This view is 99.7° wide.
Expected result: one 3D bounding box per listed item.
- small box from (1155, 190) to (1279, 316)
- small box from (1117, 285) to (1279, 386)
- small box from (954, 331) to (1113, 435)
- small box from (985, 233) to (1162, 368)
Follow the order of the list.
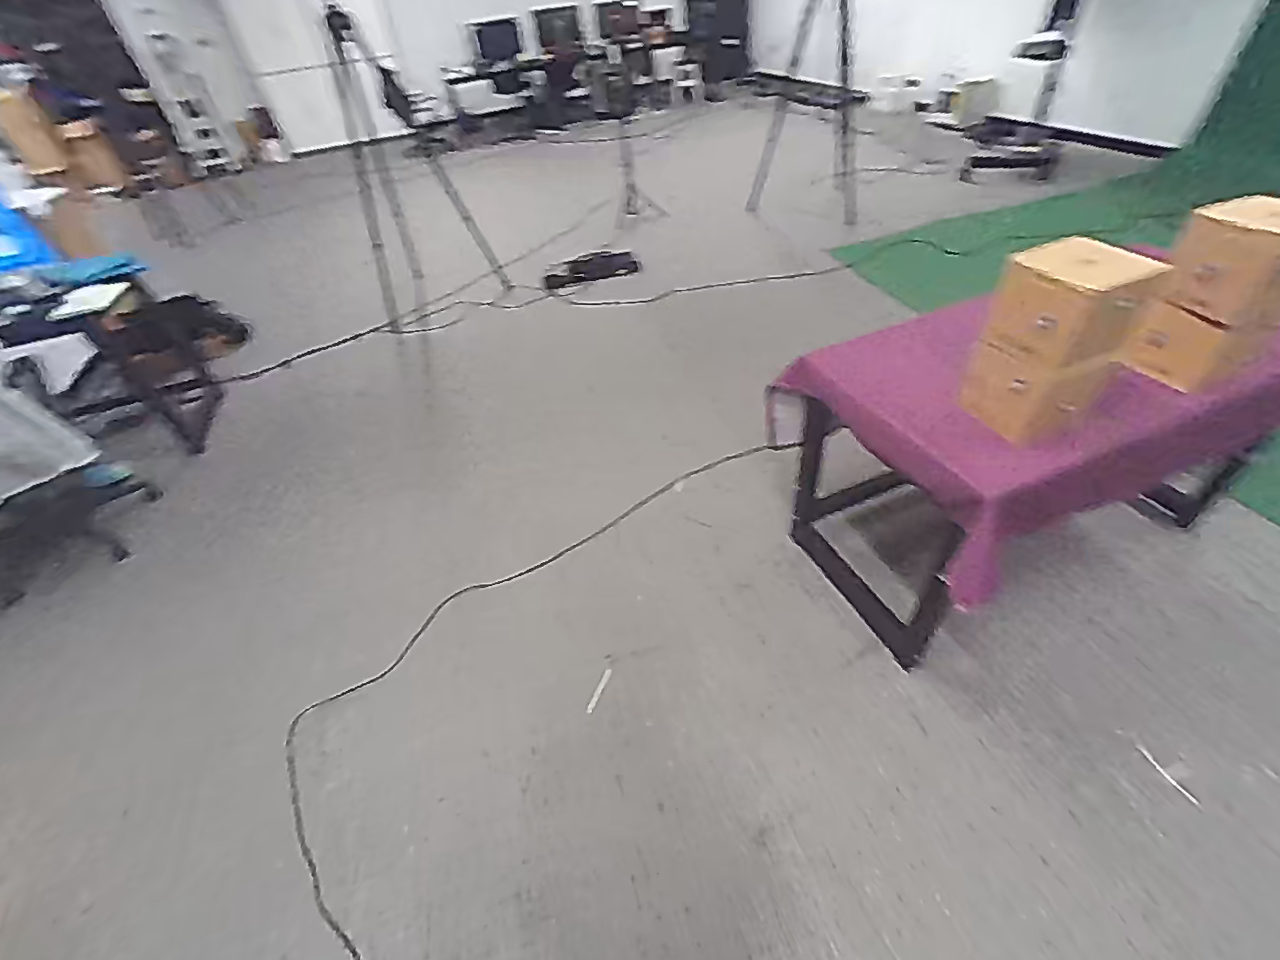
[{"bbox_3d":[1.177,-0.442,1.059,0.179,0.176,0.168,-16,44,-8],"label":"small box"},{"bbox_3d":[1.199,-0.328,1.176,0.179,0.176,0.168,-19,44,-11],"label":"small box"},{"bbox_3d":[0.793,-0.210,1.112,0.168,0.176,0.179,-18,44,-11],"label":"small box"},{"bbox_3d":[0.780,-0.329,1.002,0.179,0.176,0.168,-19,45,-11],"label":"small box"}]
